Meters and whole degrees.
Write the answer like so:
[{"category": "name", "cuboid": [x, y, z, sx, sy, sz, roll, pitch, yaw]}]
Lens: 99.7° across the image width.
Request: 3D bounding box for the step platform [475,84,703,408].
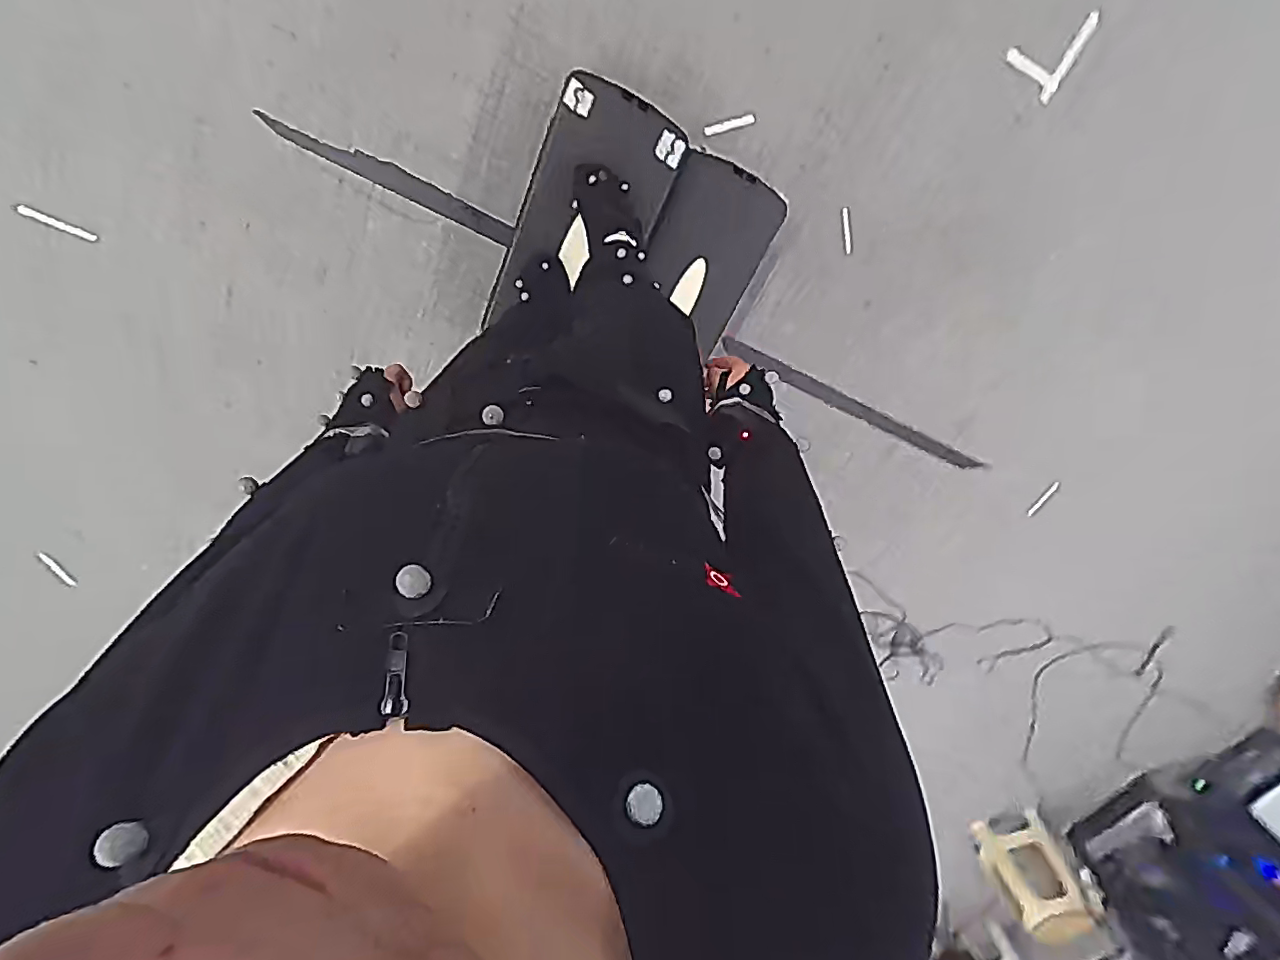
[{"category": "step platform", "cuboid": [-0.136, -0.515, 1.279, 0.286, 0.204, 0.684, 25, 112, -18]}]
